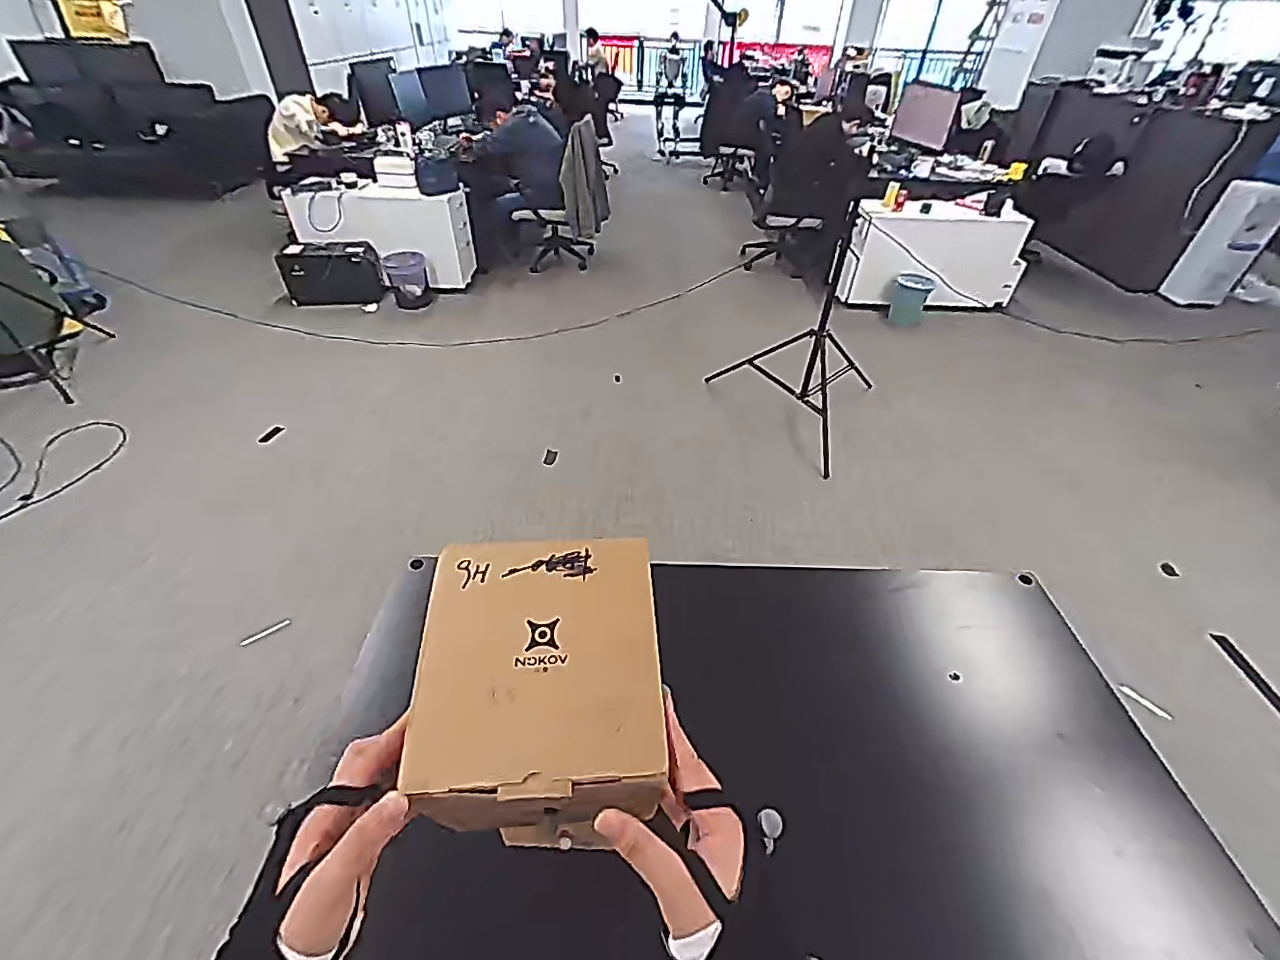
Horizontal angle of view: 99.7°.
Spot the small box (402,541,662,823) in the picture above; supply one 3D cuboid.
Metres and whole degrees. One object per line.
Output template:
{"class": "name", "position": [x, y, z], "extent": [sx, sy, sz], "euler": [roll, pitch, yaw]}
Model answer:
{"class": "small box", "position": [-0.073, 0.171, 0.446], "extent": [0.168, 0.176, 0.179], "euler": [-3, 52, -5]}

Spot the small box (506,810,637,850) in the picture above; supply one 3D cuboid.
{"class": "small box", "position": [-0.083, 0.342, 0.692], "extent": [0.168, 0.176, 0.179], "euler": [2, 41, 1]}
